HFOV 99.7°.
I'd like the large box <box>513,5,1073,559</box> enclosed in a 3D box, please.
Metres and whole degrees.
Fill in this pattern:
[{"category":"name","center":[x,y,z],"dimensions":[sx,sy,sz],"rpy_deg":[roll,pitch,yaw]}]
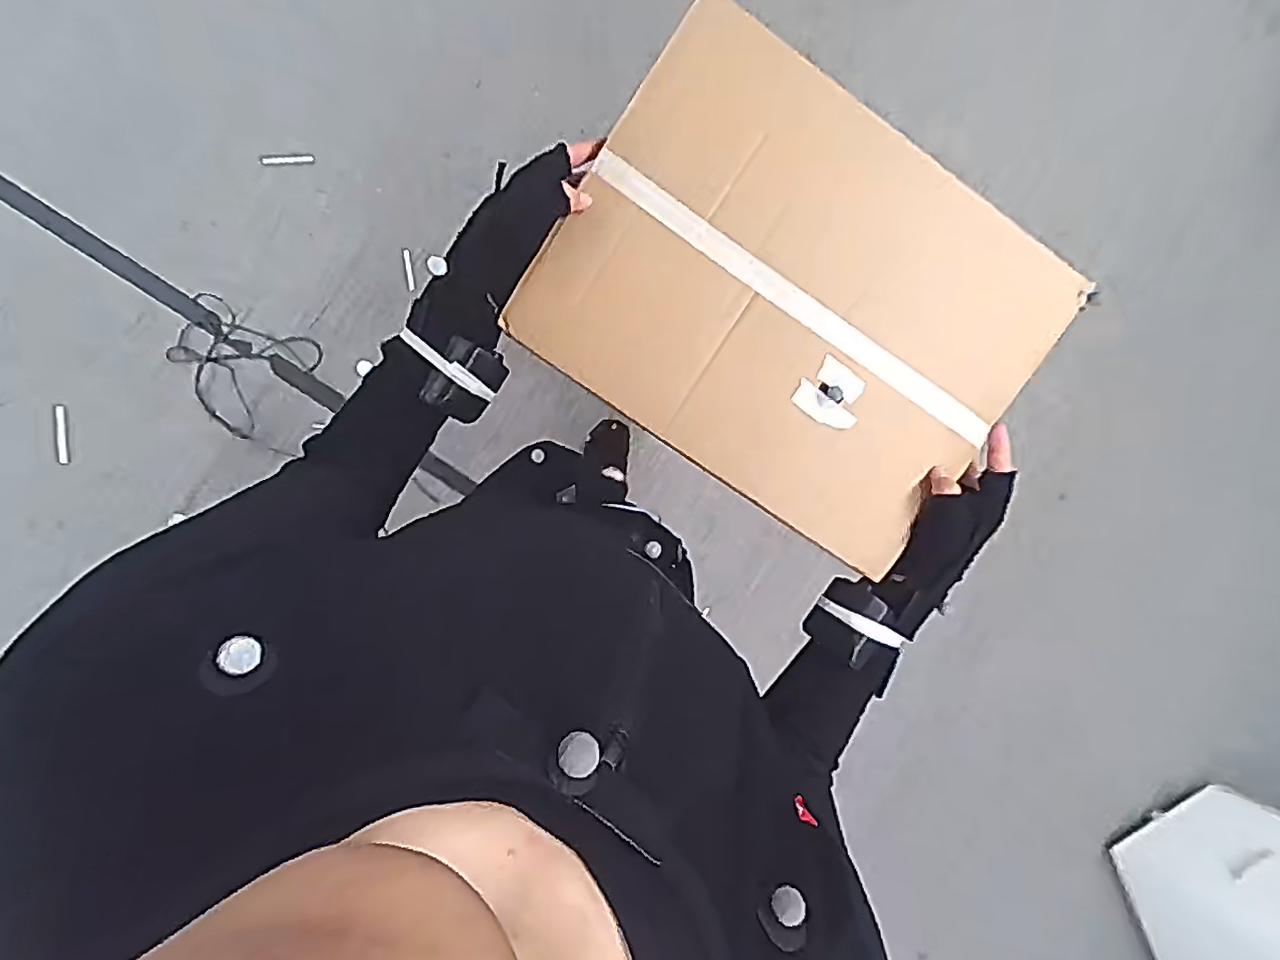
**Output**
[{"category":"large box","center":[0.128,-0.175,0.615],"dimensions":[0.408,0.320,0.320],"rpy_deg":[34,96,-6]}]
